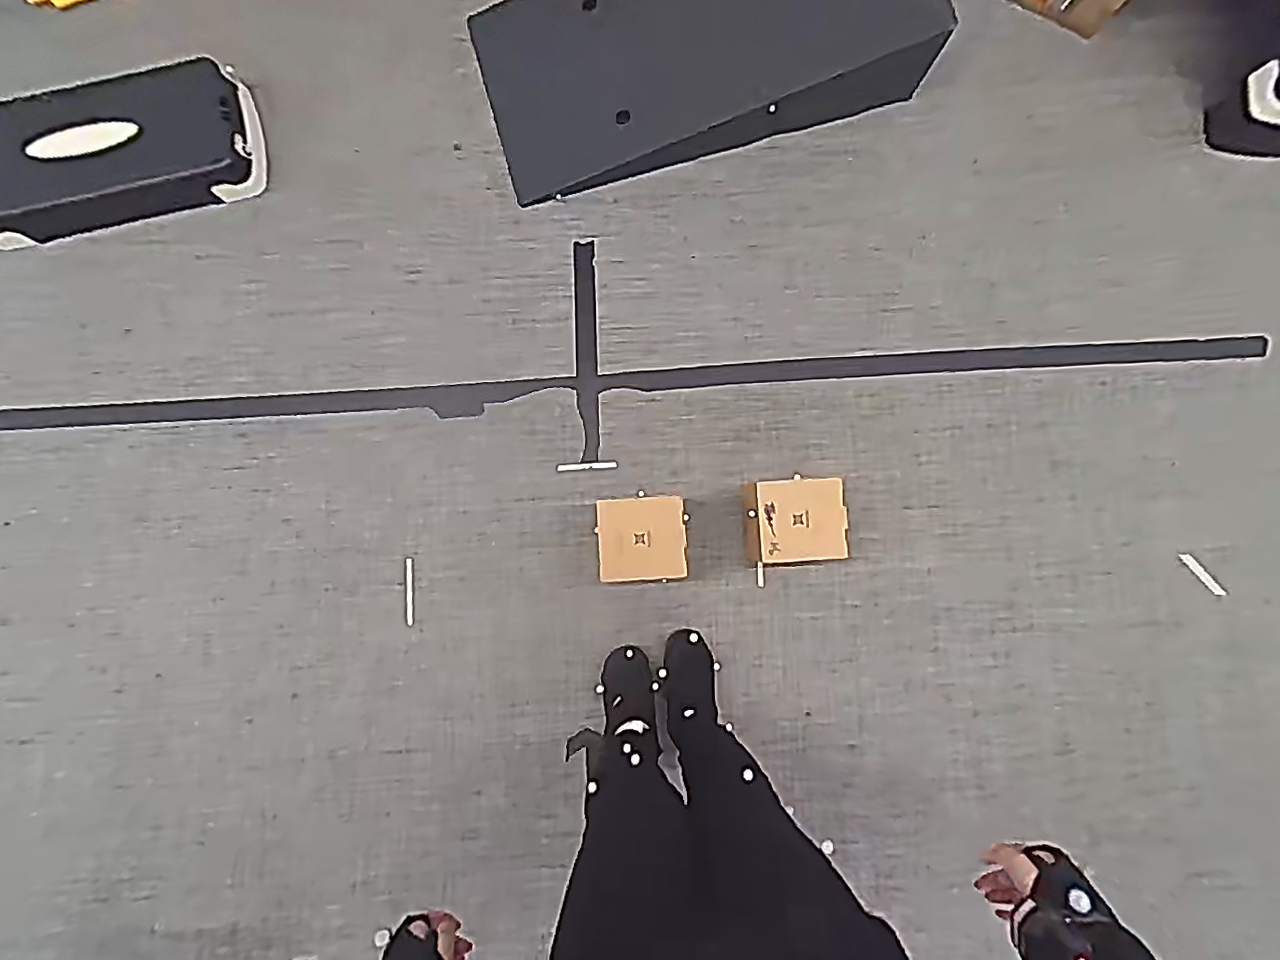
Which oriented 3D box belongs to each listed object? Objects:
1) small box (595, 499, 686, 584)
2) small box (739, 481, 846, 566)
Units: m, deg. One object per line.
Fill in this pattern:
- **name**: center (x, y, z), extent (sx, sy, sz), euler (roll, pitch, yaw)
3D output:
- **small box**: center (-0.001, 0.125, 1.148), extent (0.179, 0.176, 0.168), euler (-3, 86, 0)
- **small box**: center (0.317, 0.089, 1.152), extent (0.179, 0.176, 0.168), euler (-3, 86, -1)
